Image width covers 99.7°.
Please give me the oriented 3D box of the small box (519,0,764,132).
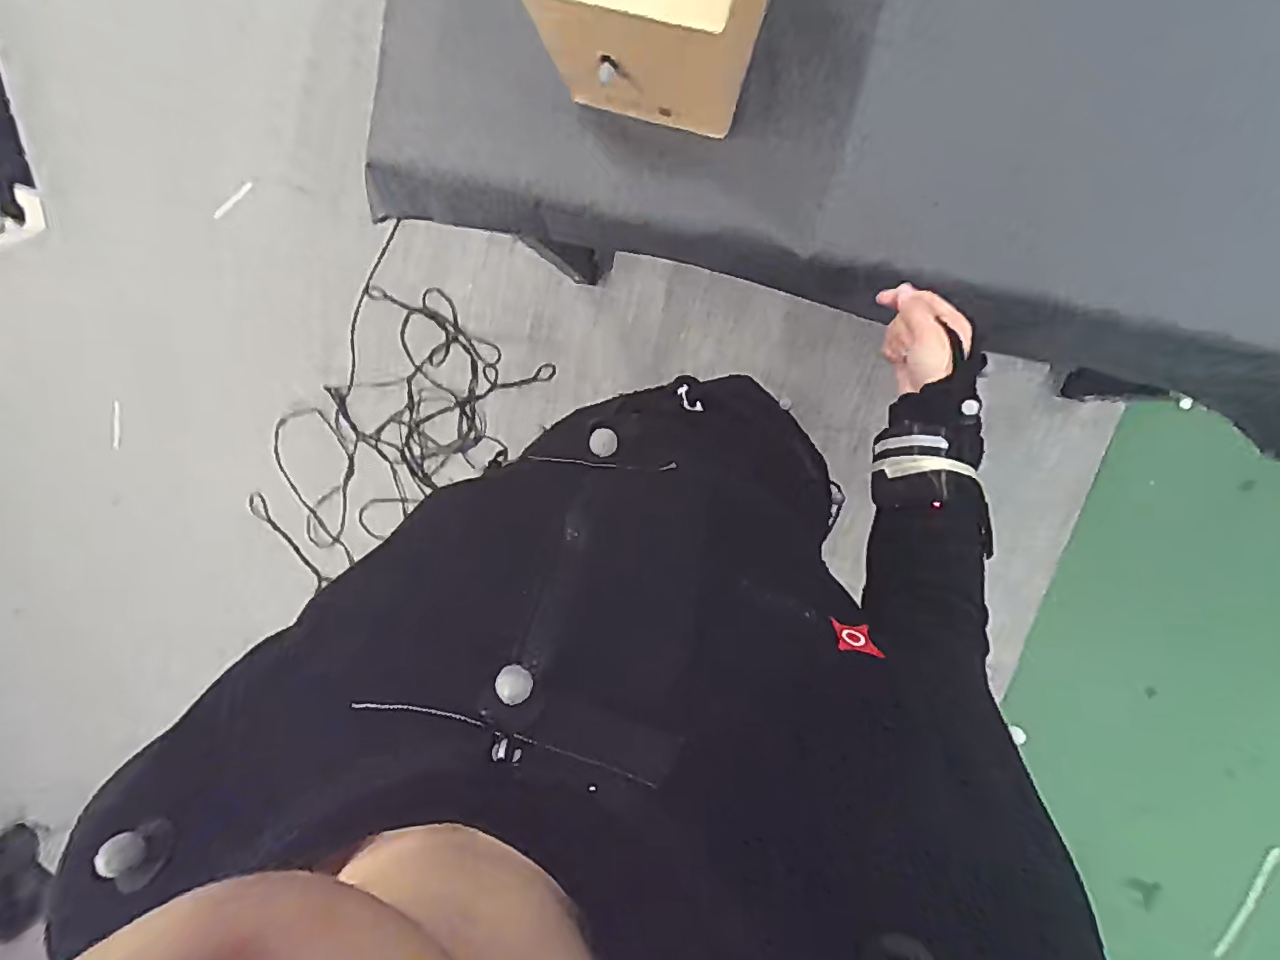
[{"bbox_3d":[0.018,-0.435,0.457,0.168,0.176,0.179,18,99,7],"label":"small box"}]
